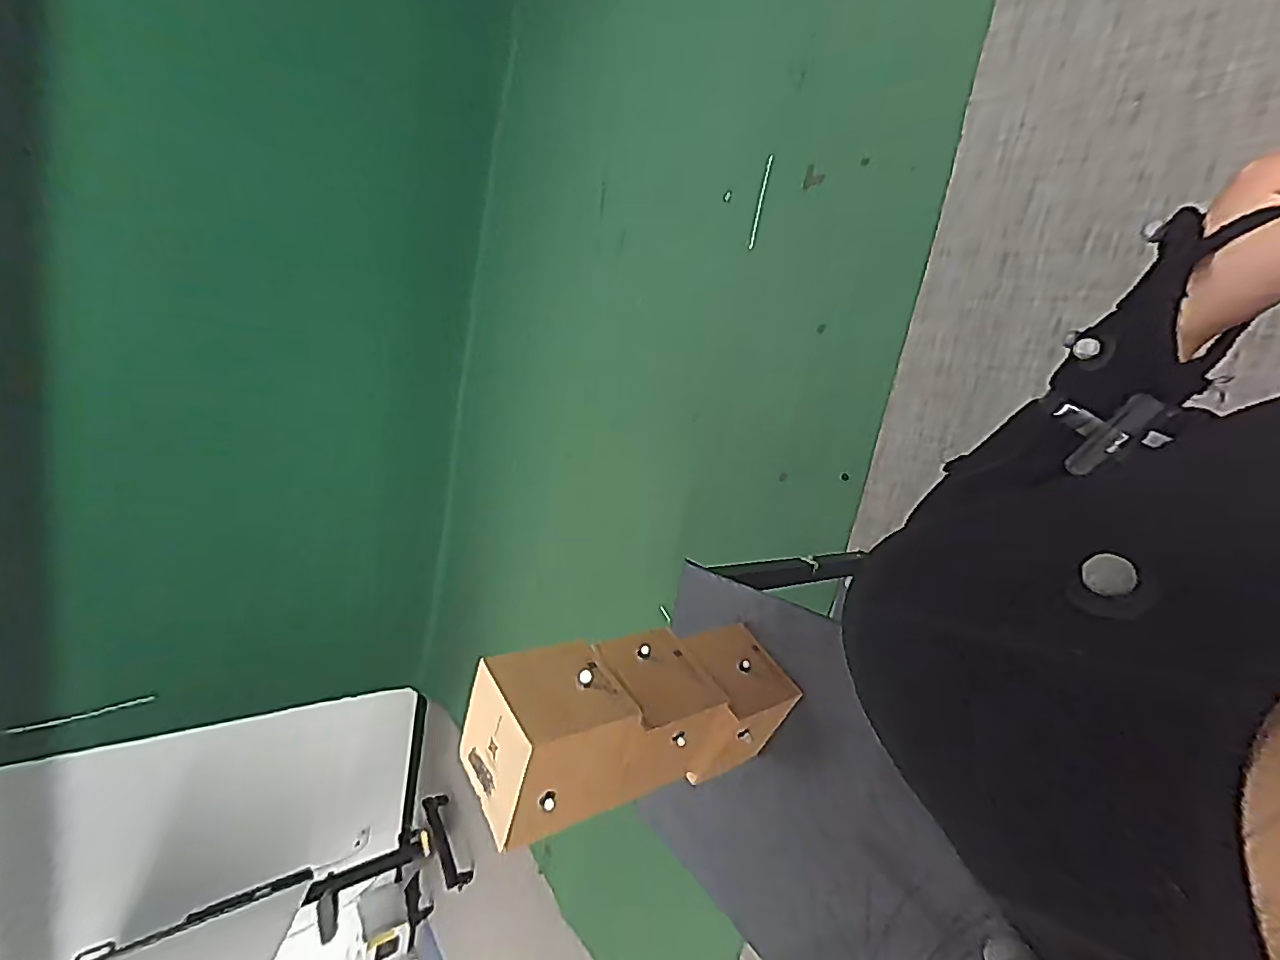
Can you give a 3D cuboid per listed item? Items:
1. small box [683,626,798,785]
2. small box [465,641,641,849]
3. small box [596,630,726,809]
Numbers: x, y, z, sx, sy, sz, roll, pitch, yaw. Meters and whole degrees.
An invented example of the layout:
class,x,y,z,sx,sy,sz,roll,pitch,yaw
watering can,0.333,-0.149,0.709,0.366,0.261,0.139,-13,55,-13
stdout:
class,x,y,z,sx,sy,sz,roll,pitch,yaw
small box,0.143,0.378,0.936,0.168,0.176,0.179,48,126,40
small box,-0.121,0.349,0.746,0.168,0.176,0.179,35,115,46
small box,0.009,0.360,0.846,0.168,0.176,0.179,43,122,43
